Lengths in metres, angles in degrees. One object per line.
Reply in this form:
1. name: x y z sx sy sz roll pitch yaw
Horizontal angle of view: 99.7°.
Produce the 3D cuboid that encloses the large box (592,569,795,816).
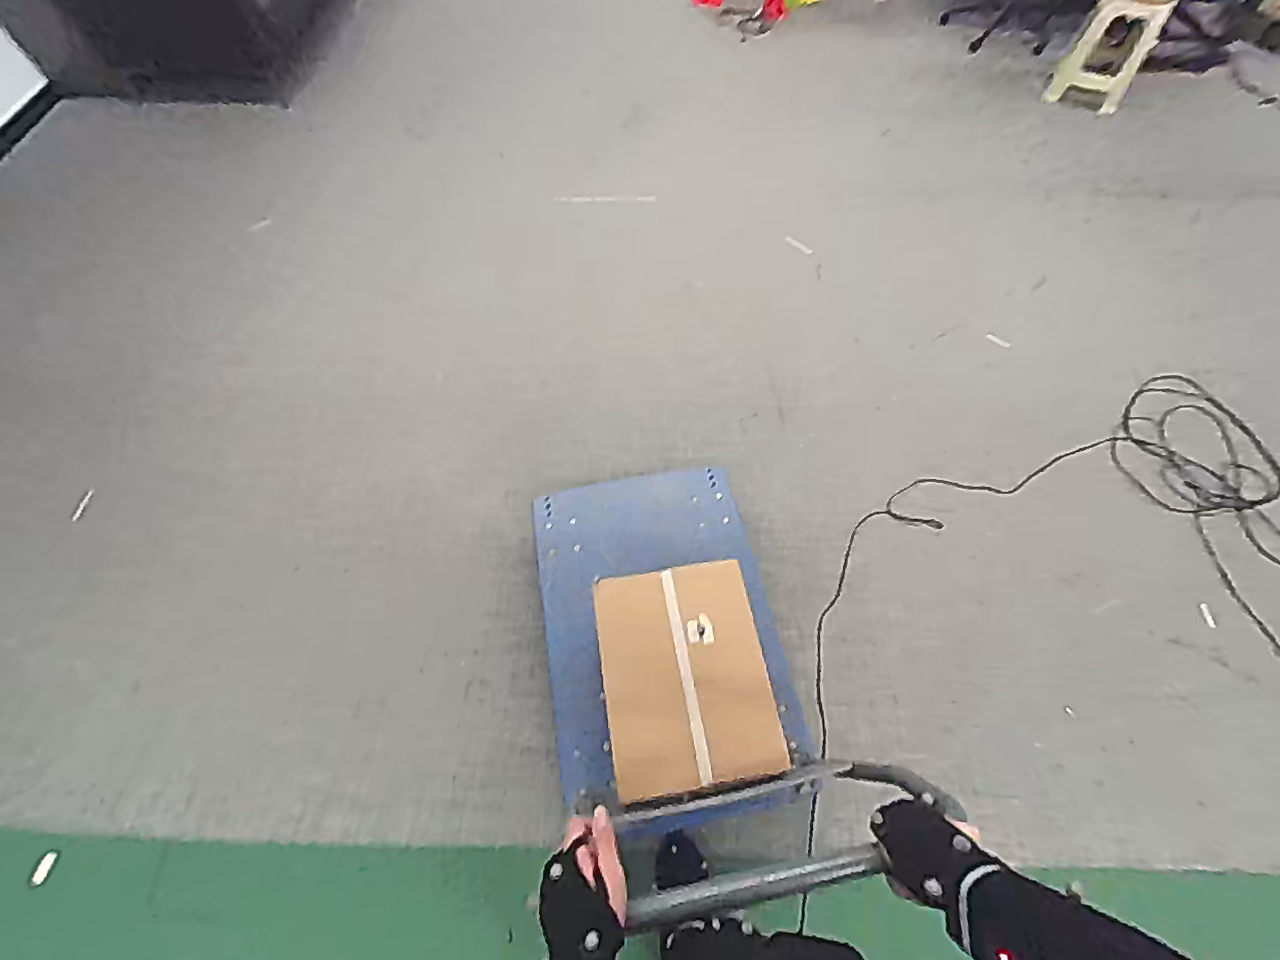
1. large box: 0.091 0.457 1.159 0.320 0.320 0.408 -9 59 -5
